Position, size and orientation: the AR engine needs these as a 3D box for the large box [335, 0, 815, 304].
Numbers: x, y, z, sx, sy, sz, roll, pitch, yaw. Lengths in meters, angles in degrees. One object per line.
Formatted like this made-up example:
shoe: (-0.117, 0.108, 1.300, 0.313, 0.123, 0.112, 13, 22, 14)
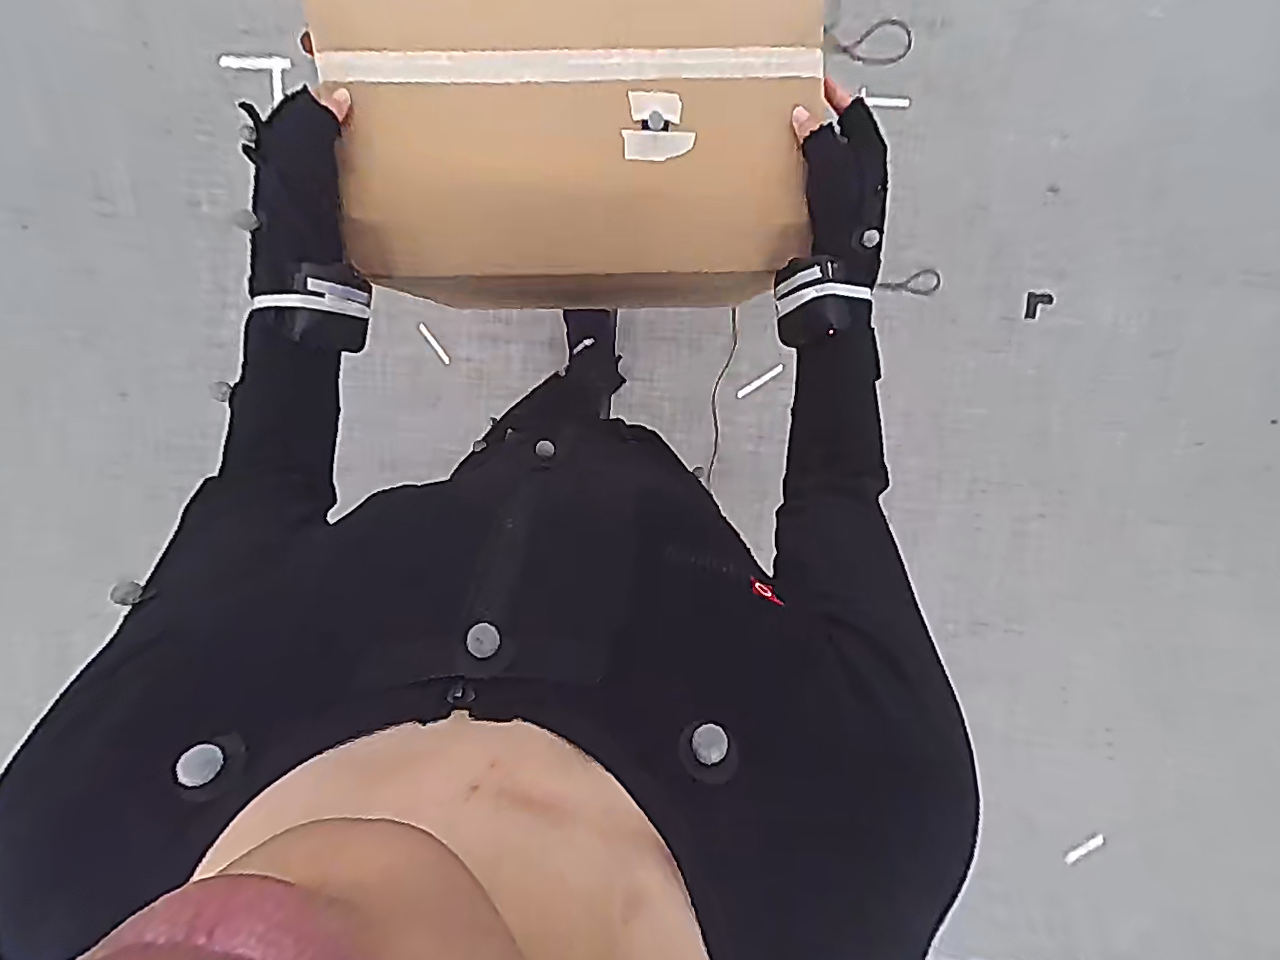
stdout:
large box: (-0.058, -0.379, 0.602, 0.408, 0.320, 0.320, -2, 103, -2)
